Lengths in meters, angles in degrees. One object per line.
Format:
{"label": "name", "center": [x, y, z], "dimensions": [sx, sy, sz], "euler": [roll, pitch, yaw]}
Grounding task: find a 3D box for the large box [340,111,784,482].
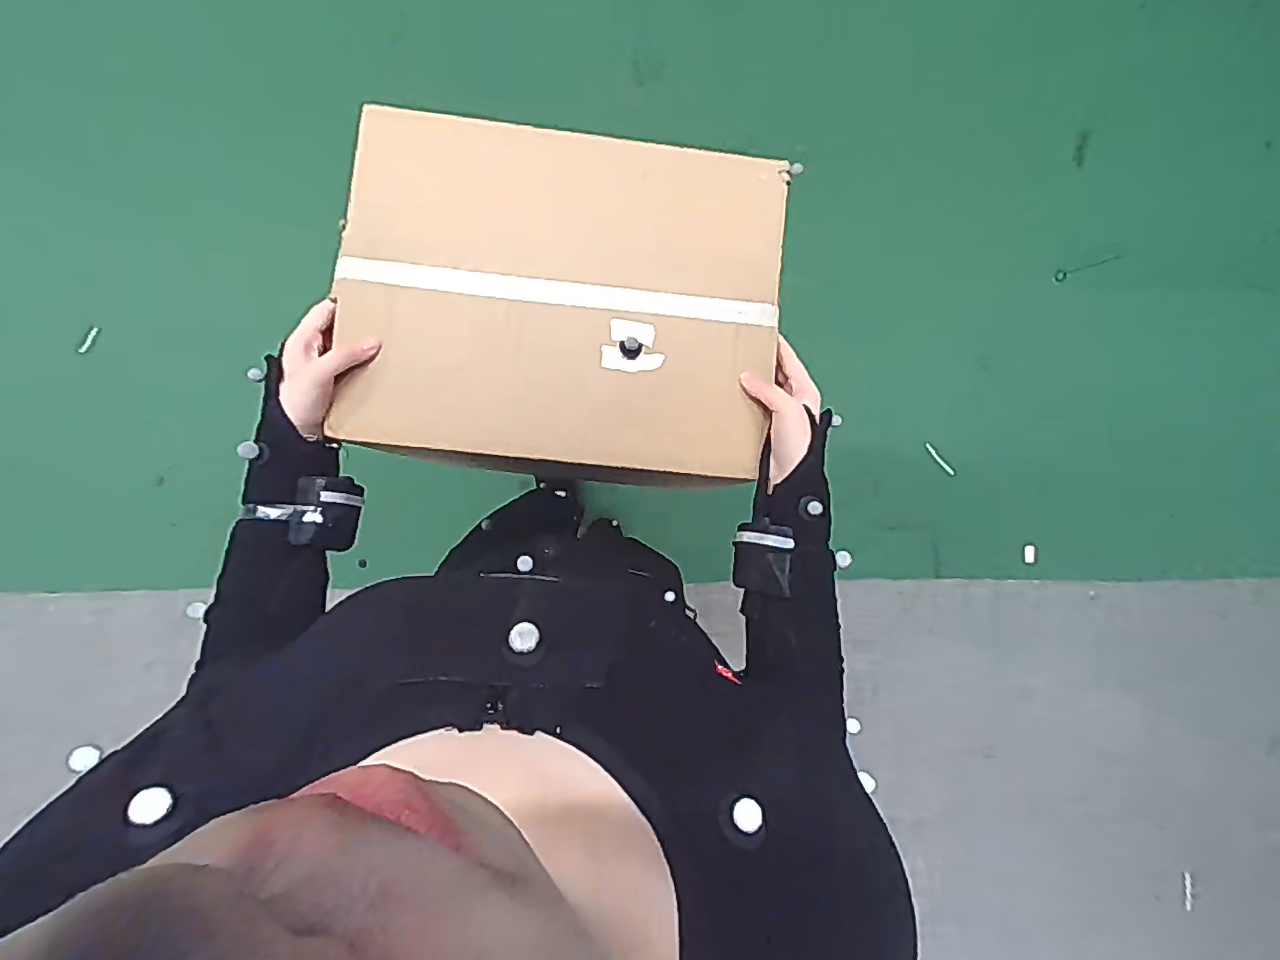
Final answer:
{"label": "large box", "center": [-0.079, -0.173, 0.661], "dimensions": [0.408, 0.320, 0.320], "euler": [6, 87, -5]}
